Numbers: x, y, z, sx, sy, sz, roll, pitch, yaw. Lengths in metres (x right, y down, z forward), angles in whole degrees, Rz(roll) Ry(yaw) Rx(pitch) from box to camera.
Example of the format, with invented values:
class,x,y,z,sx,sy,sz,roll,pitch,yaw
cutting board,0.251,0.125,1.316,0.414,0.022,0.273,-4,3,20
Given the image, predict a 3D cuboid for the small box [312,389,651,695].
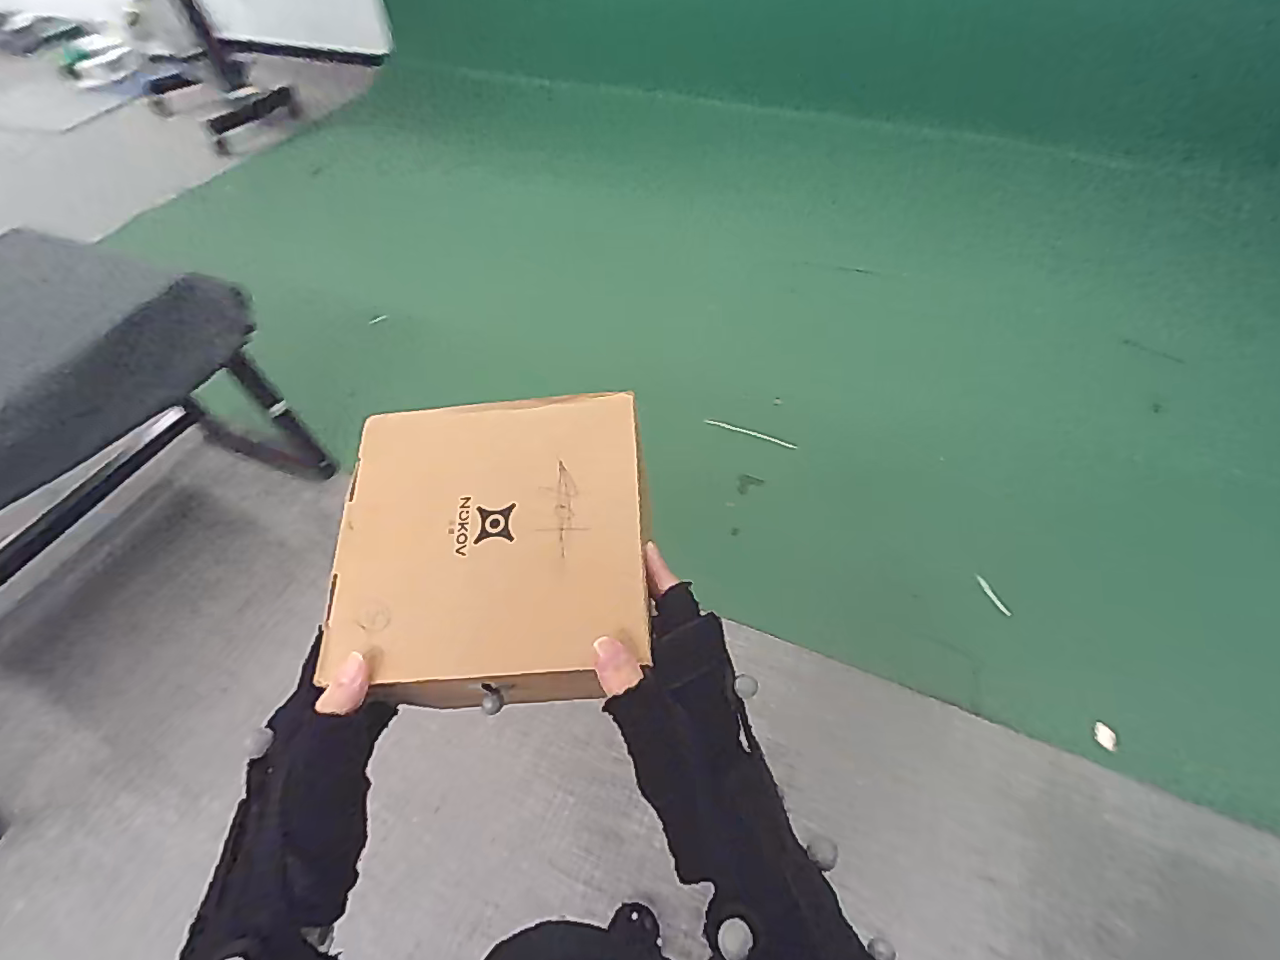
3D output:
class,x,y,z,sx,sy,sz,roll,pitch,yaw
small box,-0.089,0.057,0.391,0.179,0.176,0.168,-6,64,2
